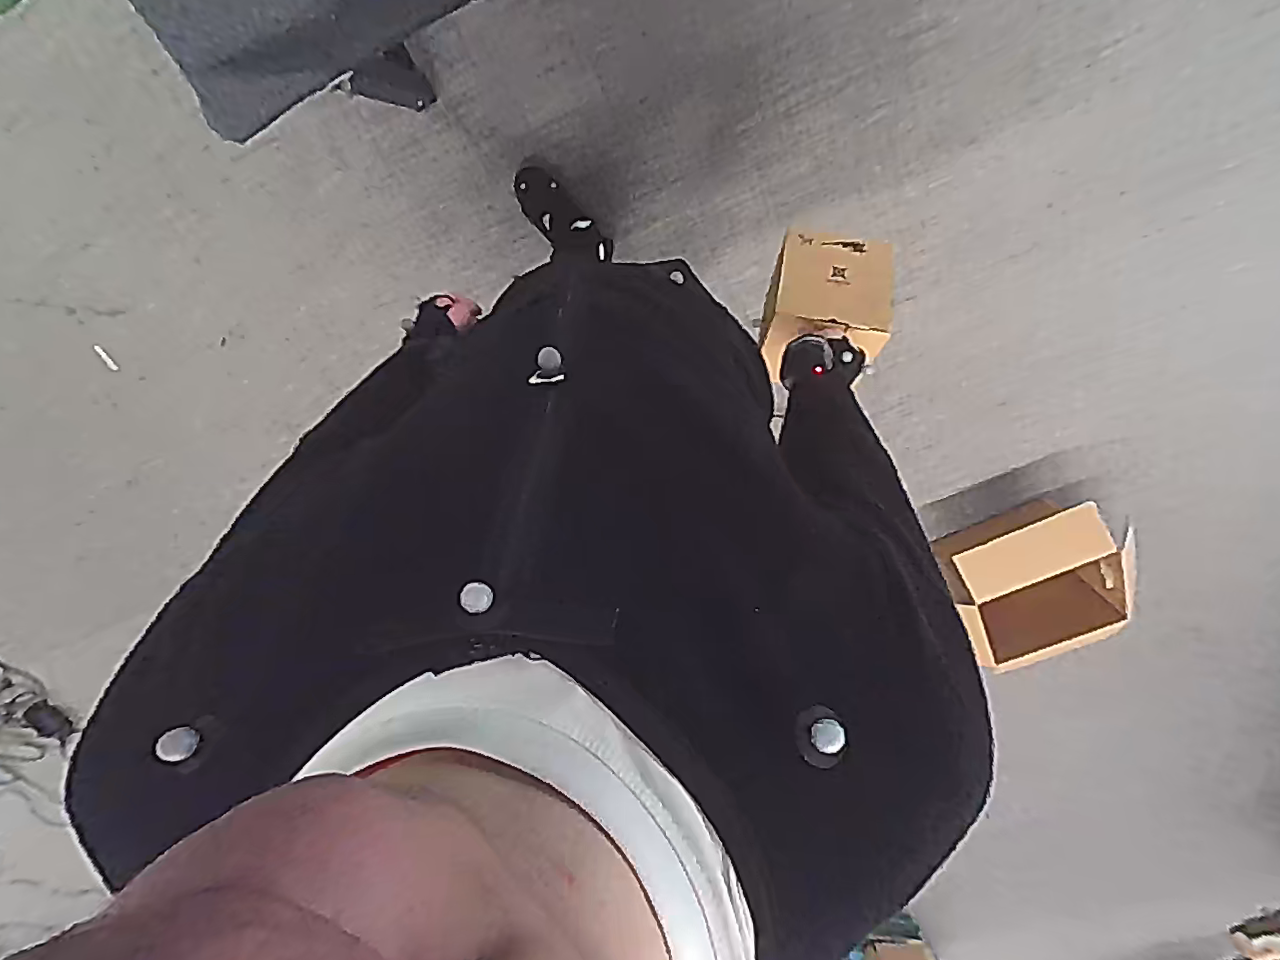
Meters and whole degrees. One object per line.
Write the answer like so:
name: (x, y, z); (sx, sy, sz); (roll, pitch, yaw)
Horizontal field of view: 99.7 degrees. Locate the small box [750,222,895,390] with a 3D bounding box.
small box: (0.280, -0.267, 0.858); (0.168, 0.179, 0.176); (13, 158, 3)
